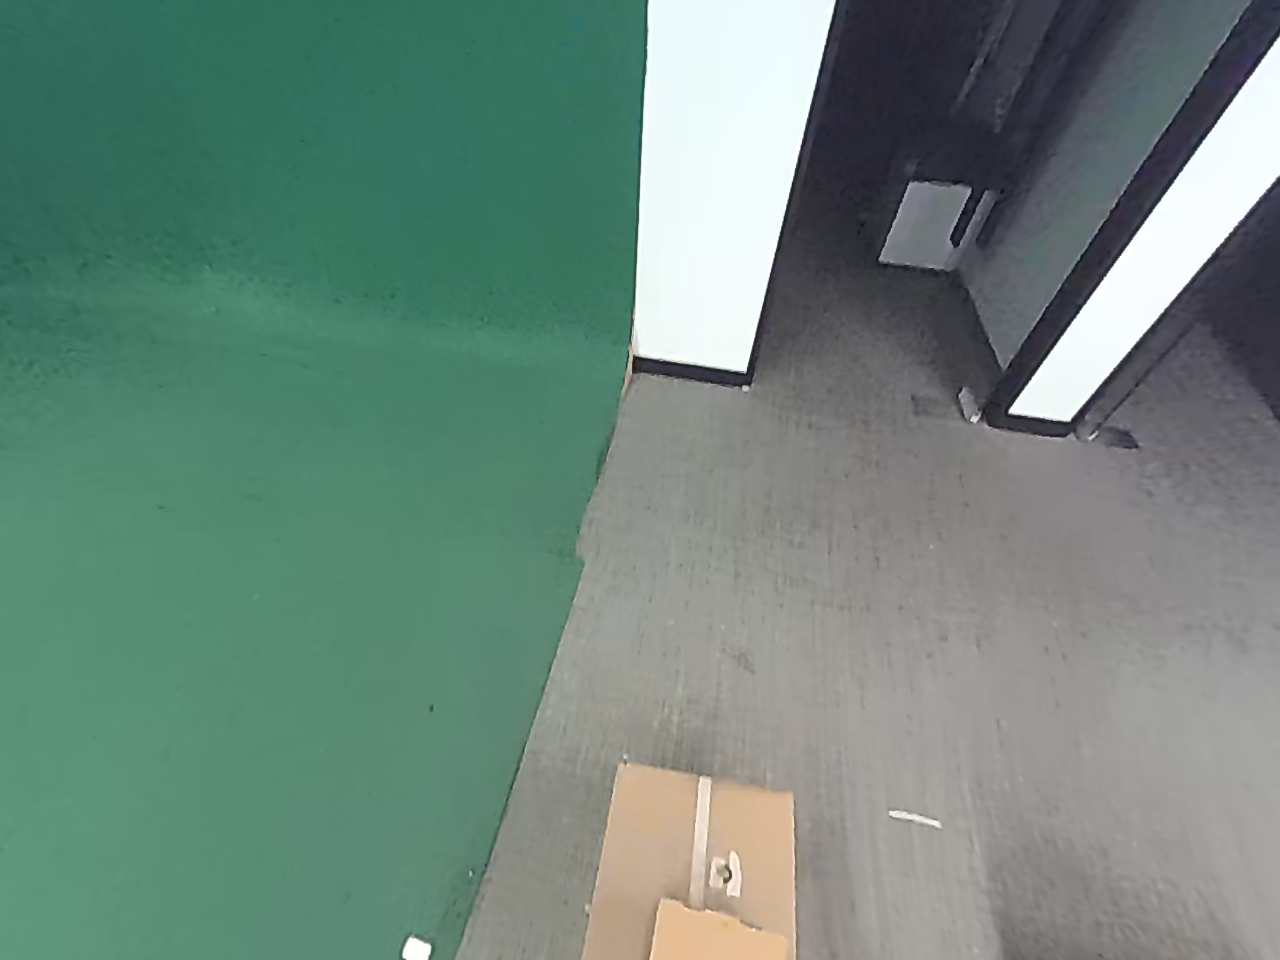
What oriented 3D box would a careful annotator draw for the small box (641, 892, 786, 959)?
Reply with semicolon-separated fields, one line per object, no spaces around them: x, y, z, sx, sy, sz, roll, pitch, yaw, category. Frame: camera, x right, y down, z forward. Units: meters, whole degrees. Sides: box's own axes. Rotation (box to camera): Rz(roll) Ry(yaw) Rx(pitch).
0.081;0.666;0.693;0.168;0.176;0.179;12;47;6;small box

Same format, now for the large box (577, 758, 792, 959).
0.072;0.765;0.933;0.320;0.320;0.408;9;47;5;large box
